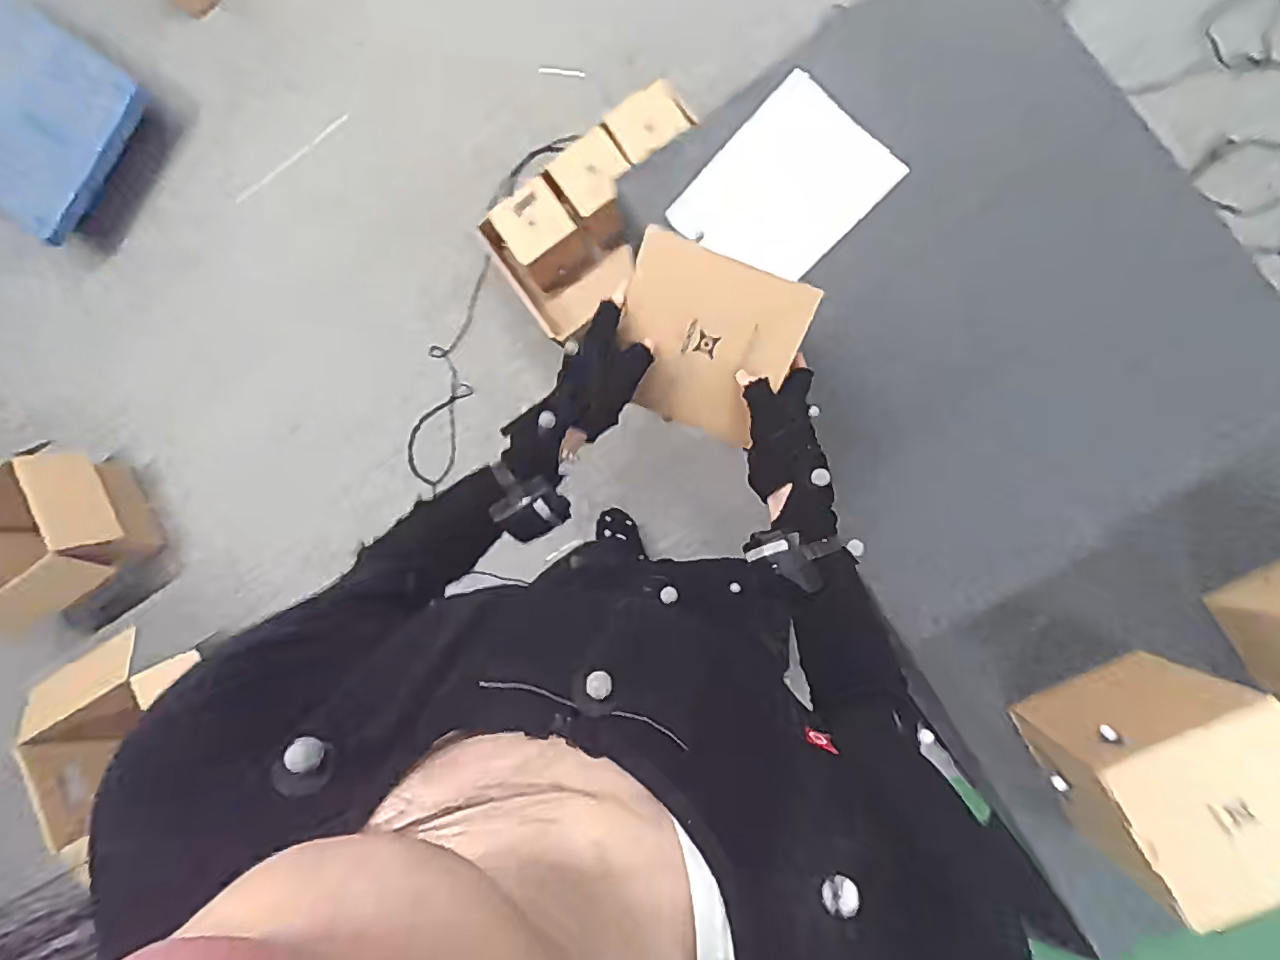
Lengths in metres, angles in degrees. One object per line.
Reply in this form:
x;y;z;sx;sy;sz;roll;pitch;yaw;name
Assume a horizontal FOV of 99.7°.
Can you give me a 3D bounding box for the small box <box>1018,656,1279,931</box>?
0.570;0.316;0.586;0.179;0.176;0.168;-28;84;6;small box
